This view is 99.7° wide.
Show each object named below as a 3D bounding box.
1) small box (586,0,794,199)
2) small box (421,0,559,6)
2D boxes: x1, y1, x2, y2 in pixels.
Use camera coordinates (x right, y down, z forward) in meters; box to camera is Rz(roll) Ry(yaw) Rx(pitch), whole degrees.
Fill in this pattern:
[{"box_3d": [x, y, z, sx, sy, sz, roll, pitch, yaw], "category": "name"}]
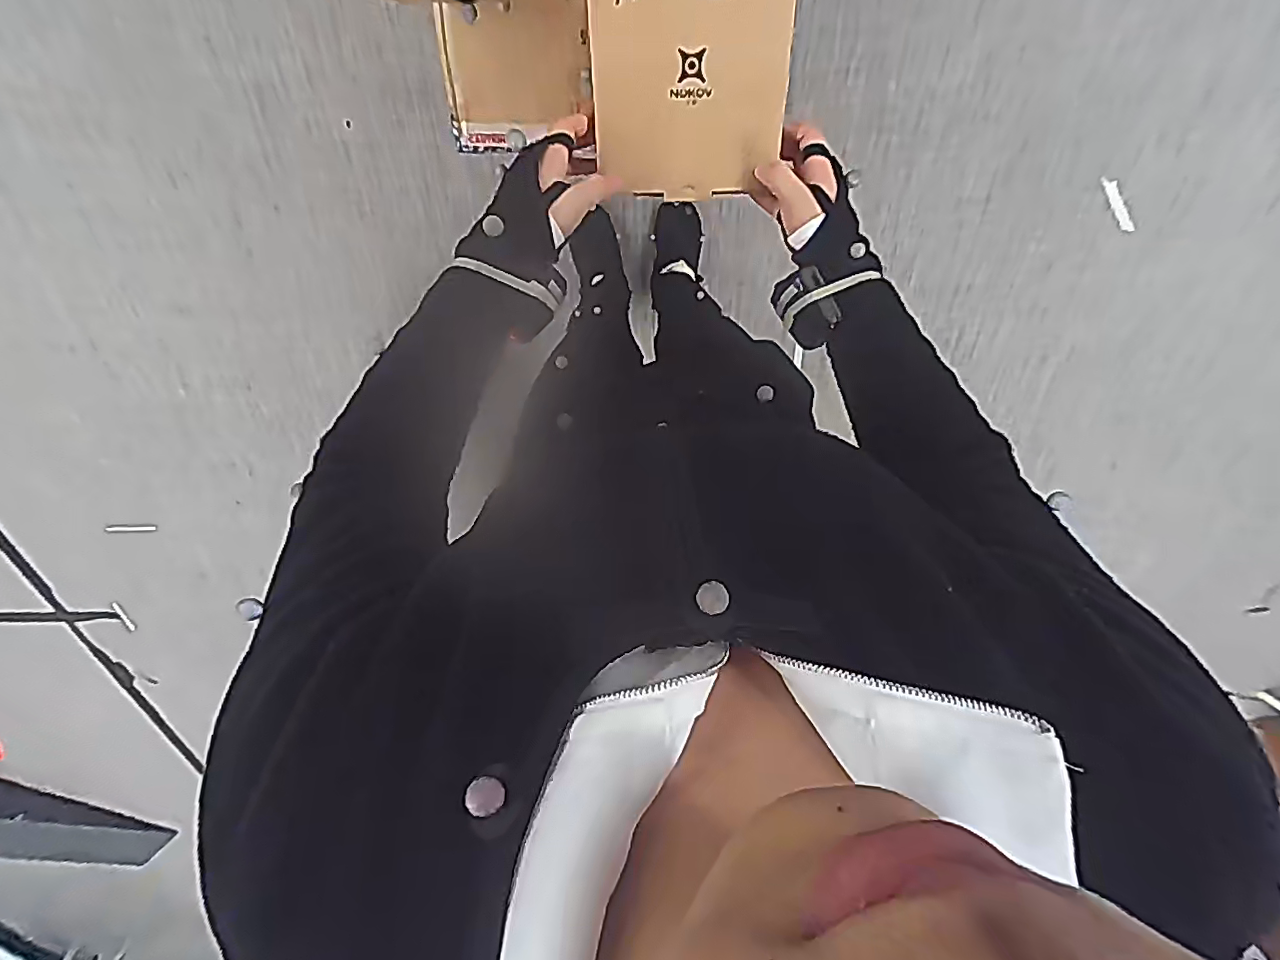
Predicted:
[{"box_3d": [0.039, -0.380, 0.517, 0.168, 0.176, 0.179, -2, 125, -1], "category": "small box"}, {"box_3d": [-0.152, -0.505, 0.429, 0.168, 0.176, 0.179, -1, 126, 2], "category": "small box"}]
